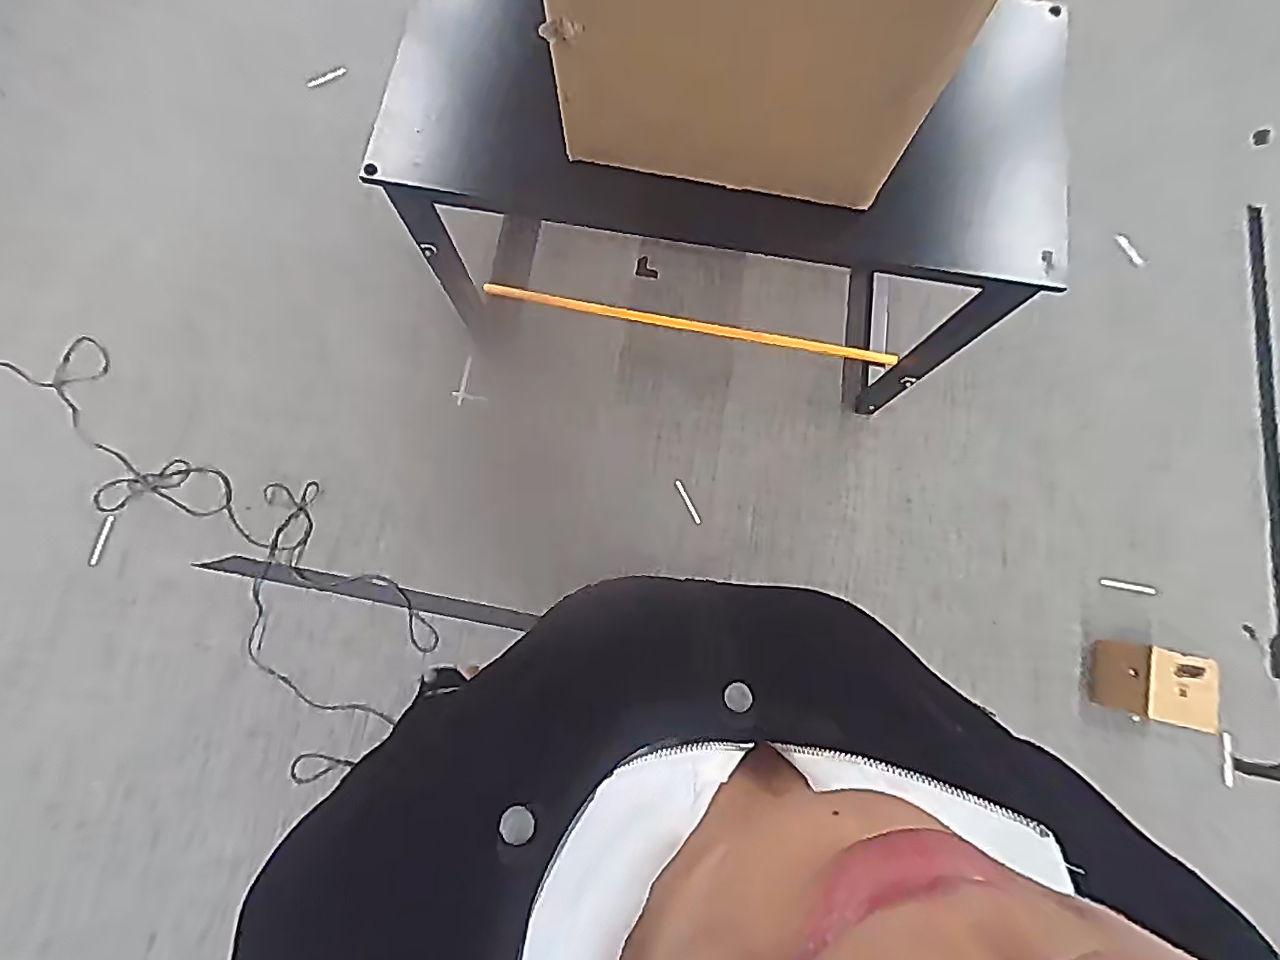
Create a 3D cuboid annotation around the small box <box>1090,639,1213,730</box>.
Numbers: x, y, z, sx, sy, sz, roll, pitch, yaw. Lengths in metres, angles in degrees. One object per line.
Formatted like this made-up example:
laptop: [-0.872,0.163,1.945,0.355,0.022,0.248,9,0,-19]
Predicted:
small box: [1.326,0.522,1.411,0.168,0.176,0.179,13,80,2]
